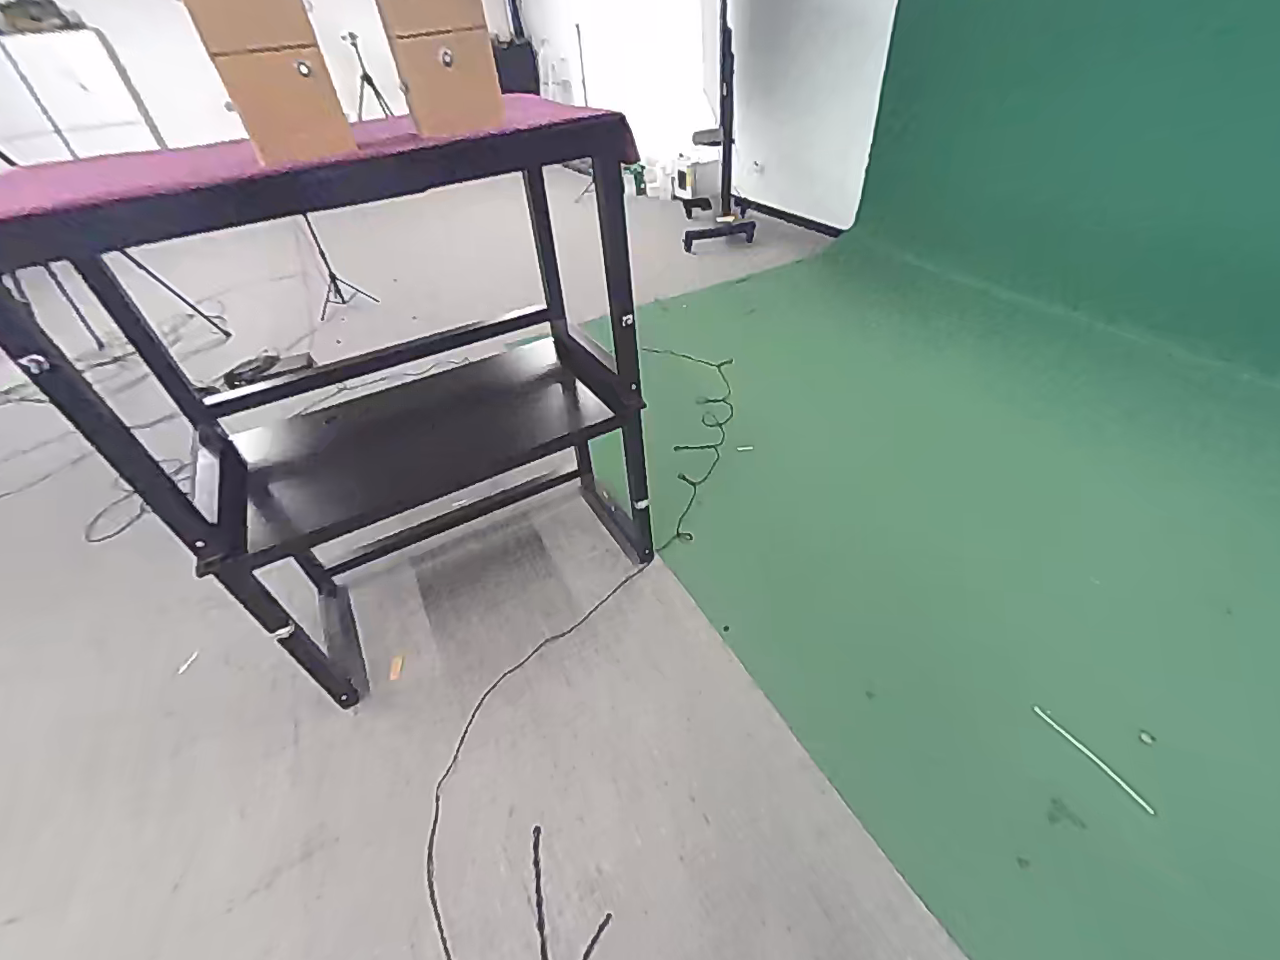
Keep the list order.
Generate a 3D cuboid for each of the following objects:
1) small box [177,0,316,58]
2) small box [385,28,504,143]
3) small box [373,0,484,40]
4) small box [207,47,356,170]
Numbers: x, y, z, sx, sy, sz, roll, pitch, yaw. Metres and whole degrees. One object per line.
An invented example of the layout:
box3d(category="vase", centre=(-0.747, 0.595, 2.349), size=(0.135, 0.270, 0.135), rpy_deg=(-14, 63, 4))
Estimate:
box3d(category="small box", centre=(-0.687, -0.829, 0.921), size=(0.179, 0.176, 0.168), rpy_deg=(-23, 44, -19))
box3d(category="small box", centre=(-0.403, -0.815, 1.121), size=(0.179, 0.176, 0.168), rpy_deg=(-21, 43, -16))
box3d(category="small box", centre=(-0.416, -0.938, 1.014), size=(0.179, 0.176, 0.168), rpy_deg=(-22, 44, -16))
box3d(category="small box", centre=(-0.673, -0.703, 1.026), size=(0.179, 0.176, 0.168), rpy_deg=(-24, 44, -20))
